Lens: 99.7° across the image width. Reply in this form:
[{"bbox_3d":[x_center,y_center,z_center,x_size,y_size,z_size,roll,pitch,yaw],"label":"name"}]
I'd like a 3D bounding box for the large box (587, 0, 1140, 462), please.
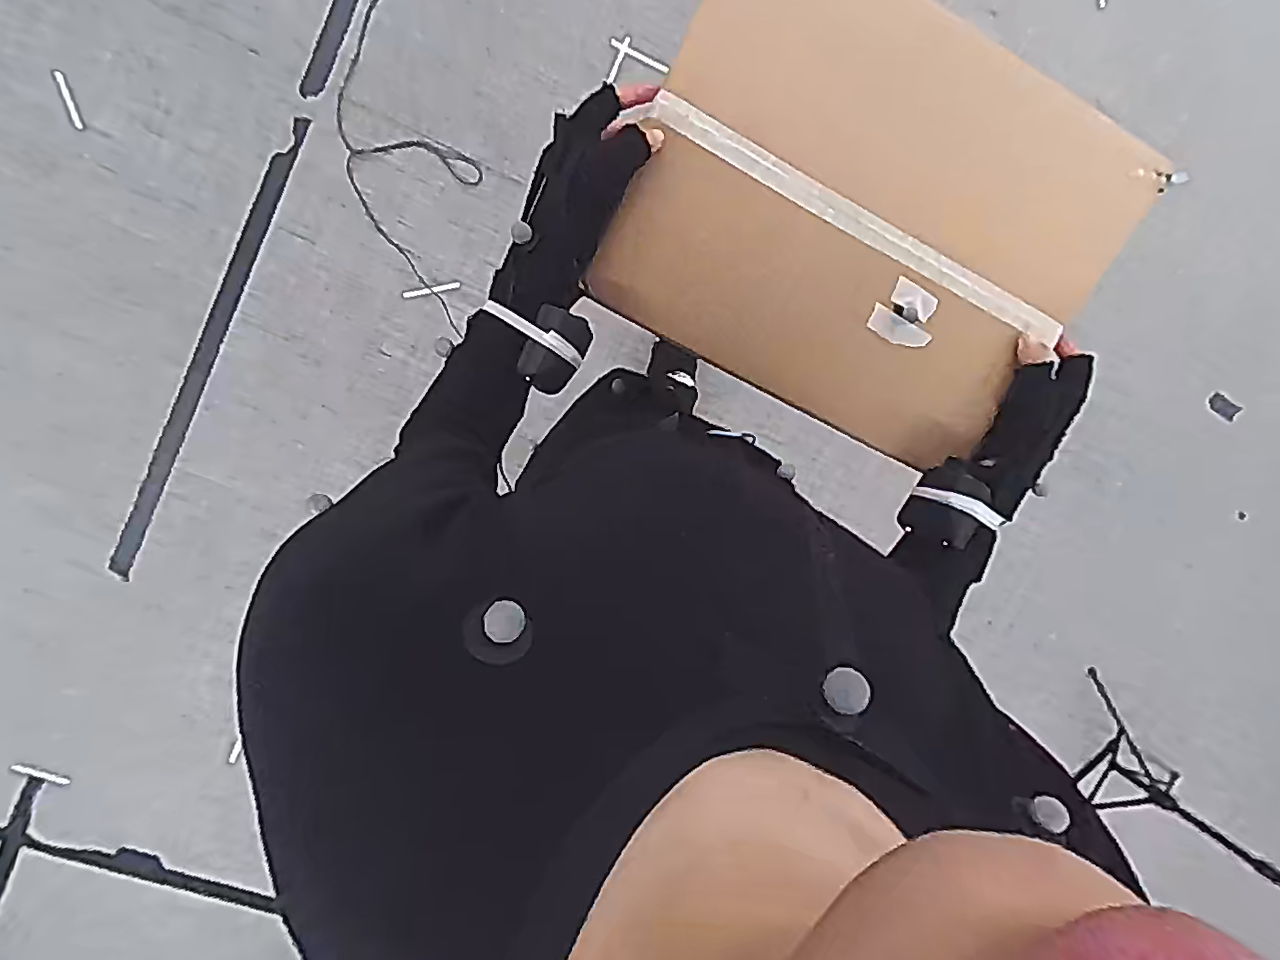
[{"bbox_3d":[0.186,-0.271,0.618,0.408,0.320,0.320,25,106,-9],"label":"large box"}]
